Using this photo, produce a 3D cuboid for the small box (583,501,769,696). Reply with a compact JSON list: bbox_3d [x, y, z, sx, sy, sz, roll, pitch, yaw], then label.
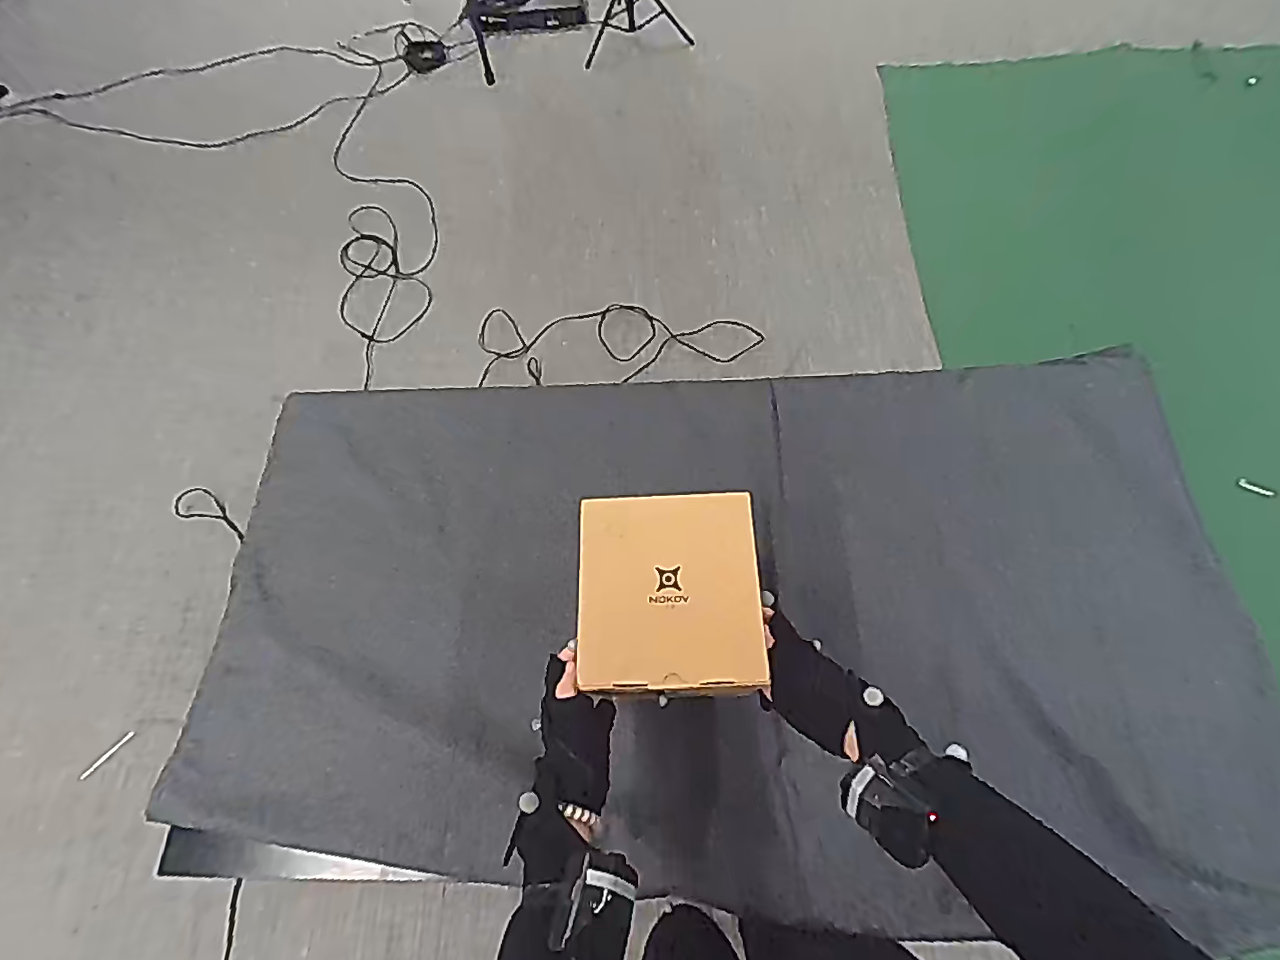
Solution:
[{"bbox_3d":[0.034,0.134,0.576,0.168,0.176,0.179,-3,68,3],"label":"small box"}]
